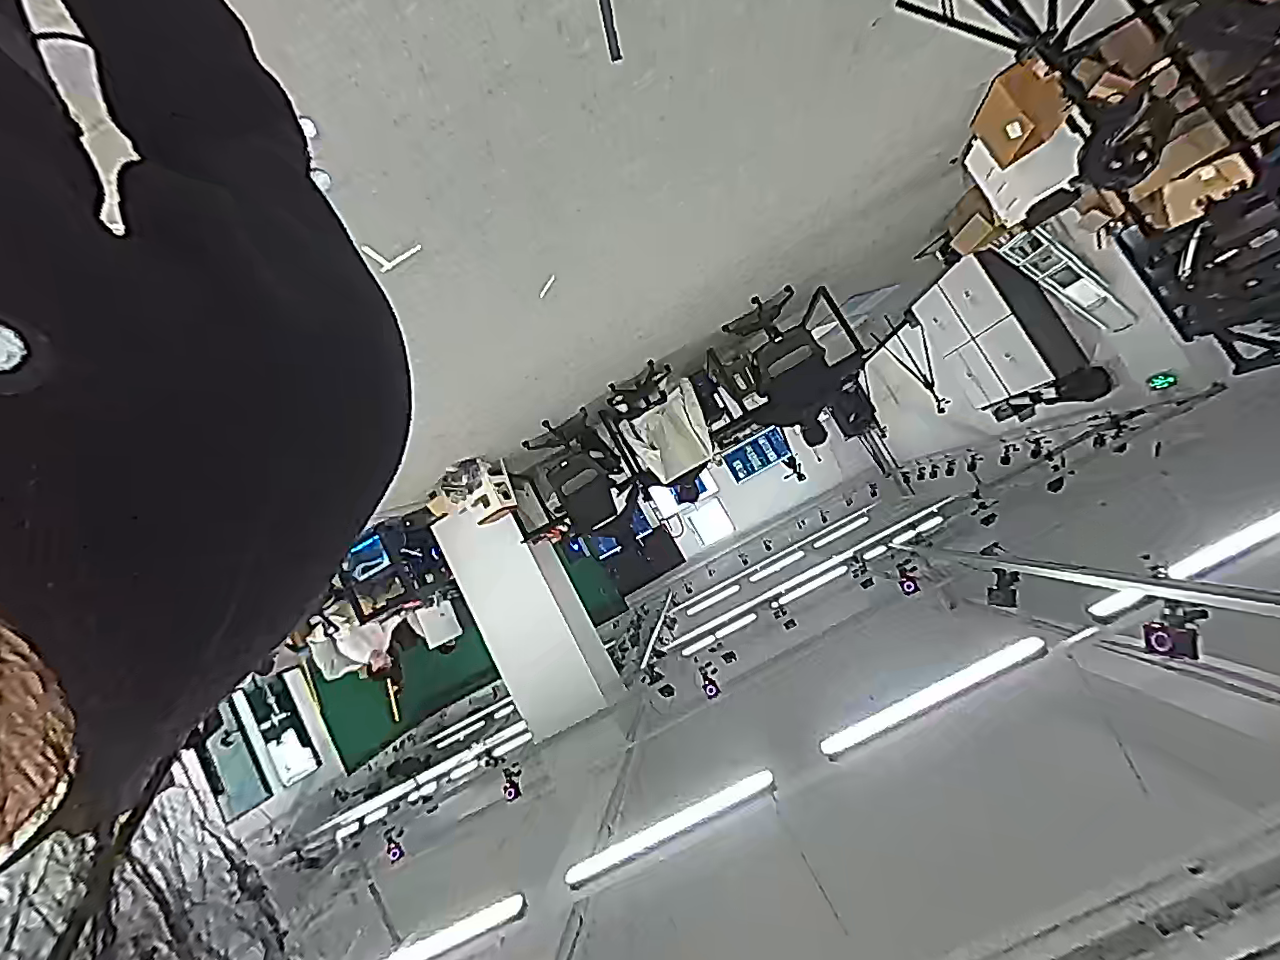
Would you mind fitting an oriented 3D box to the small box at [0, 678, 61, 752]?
[{"bbox_3d":[-2.000,0.749,1.687,0.168,0.176,0.179,-28,174,6],"label":"small box"}]
